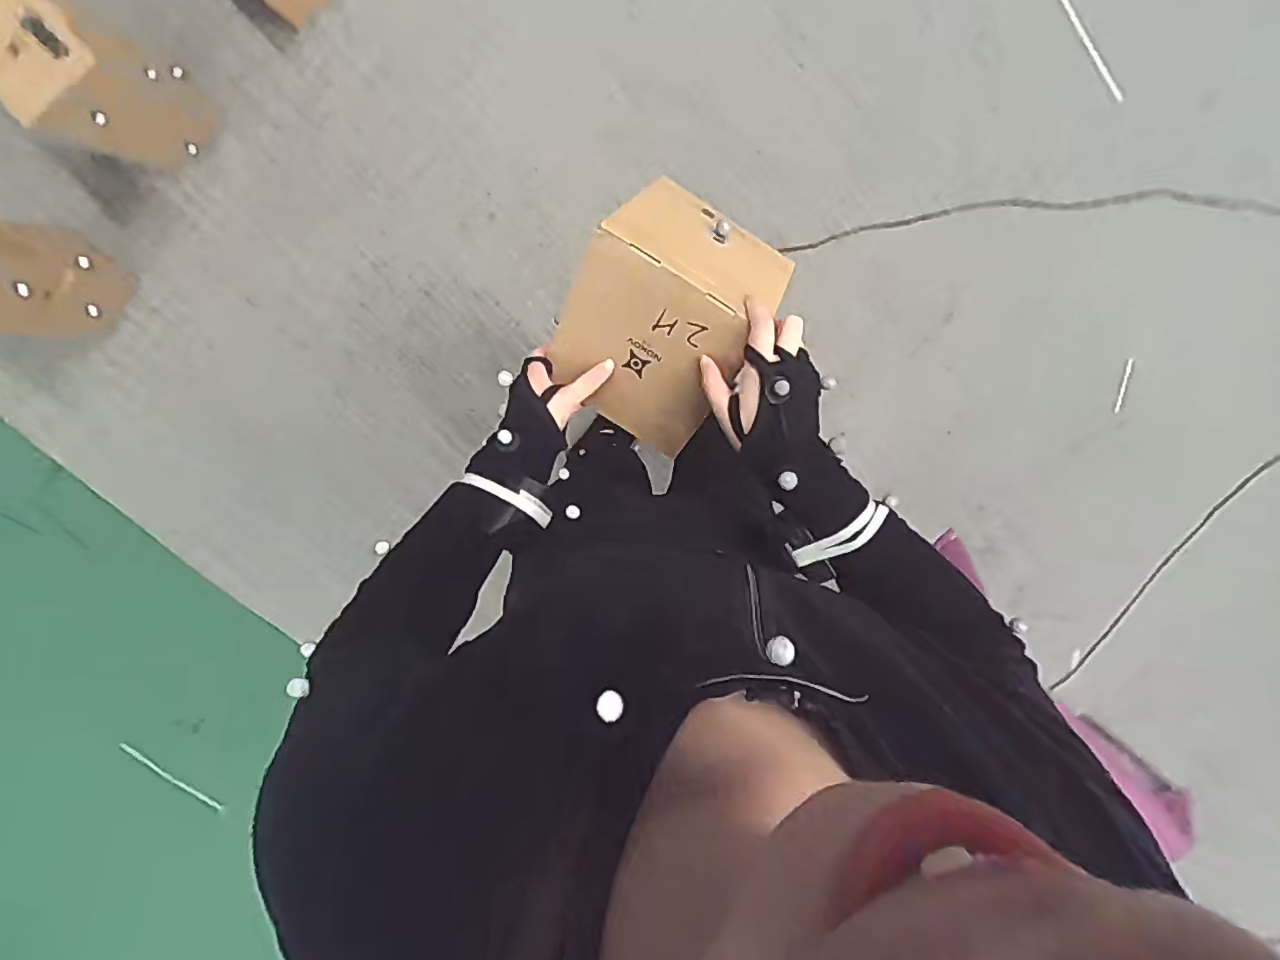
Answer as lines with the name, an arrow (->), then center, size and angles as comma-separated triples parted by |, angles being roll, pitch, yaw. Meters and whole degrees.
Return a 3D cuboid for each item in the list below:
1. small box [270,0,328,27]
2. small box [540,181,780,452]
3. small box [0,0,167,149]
small box -> -0.714, -1.056, 1.058 | 0.179, 0.176, 0.168 | -42, 104, 8
small box -> 0.025, -0.169, 0.559 | 0.168, 0.176, 0.179 | 31, 135, -3
small box -> -1.010, -0.736, 0.963 | 0.179, 0.176, 0.168 | -33, 105, 8
